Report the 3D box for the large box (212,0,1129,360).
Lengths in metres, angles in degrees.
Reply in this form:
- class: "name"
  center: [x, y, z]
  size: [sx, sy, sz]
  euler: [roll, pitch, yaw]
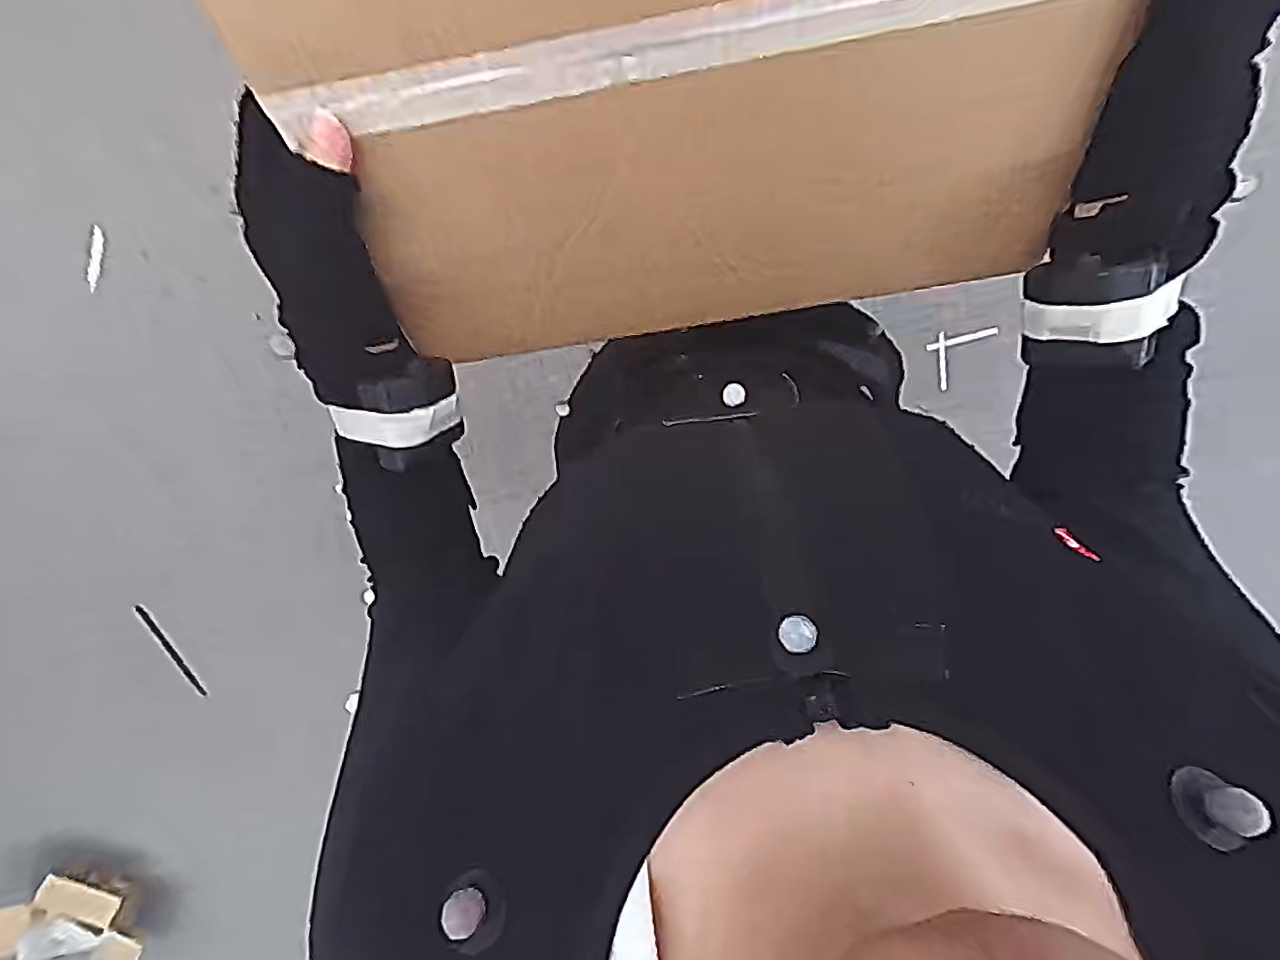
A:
- class: "large box"
  center: [0.016, -0.321, 0.331]
  size: [0.408, 0.320, 0.320]
  euler: [-8, 145, 4]
